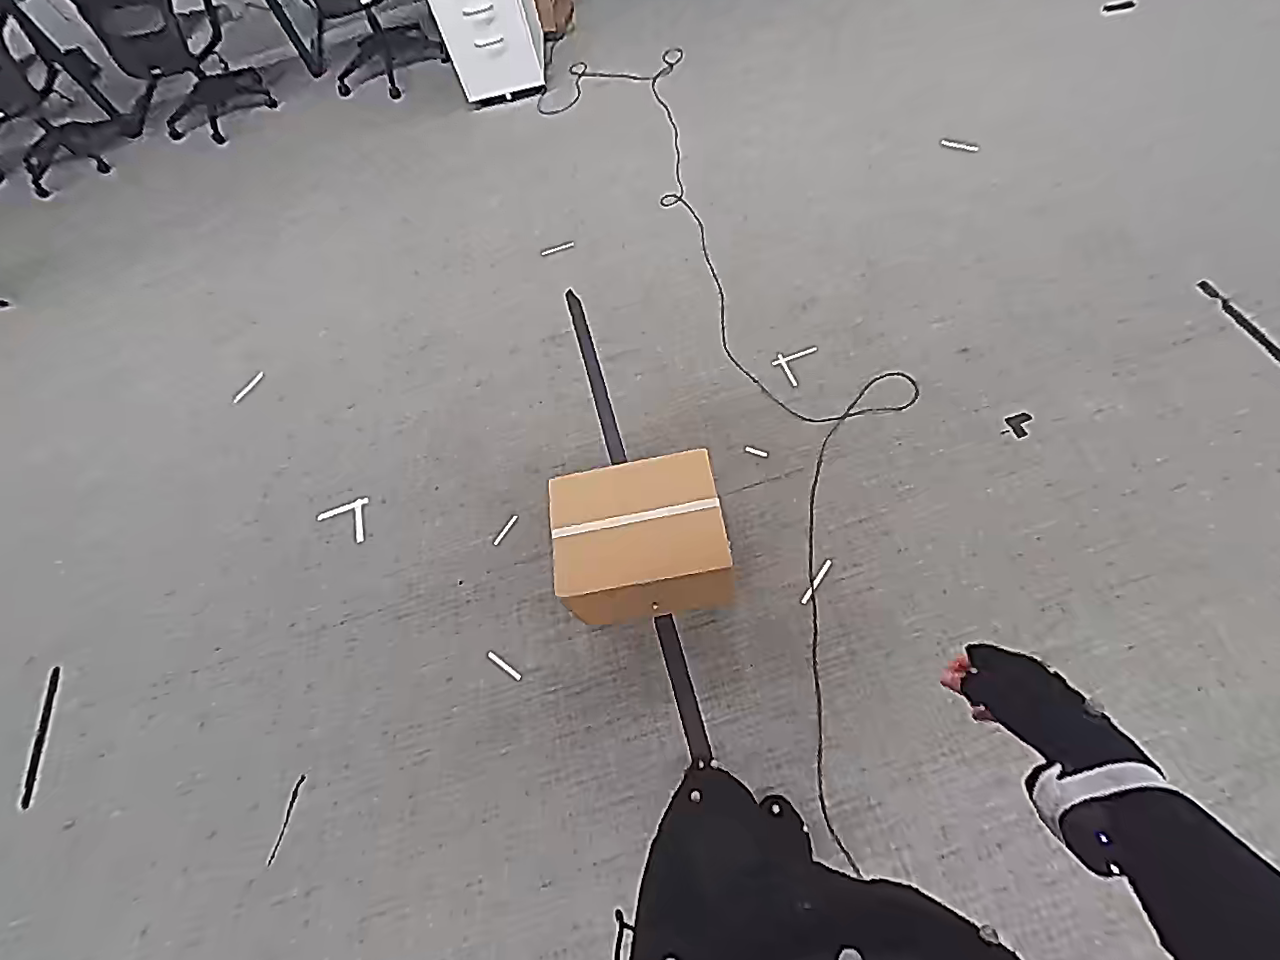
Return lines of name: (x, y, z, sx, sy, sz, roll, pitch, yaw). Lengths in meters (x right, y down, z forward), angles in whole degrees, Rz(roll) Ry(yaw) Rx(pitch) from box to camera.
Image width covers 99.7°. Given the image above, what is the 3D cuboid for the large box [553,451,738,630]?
large box: (0.020, 0.170, 1.392, 0.408, 0.320, 0.320, -12, 62, 4)
